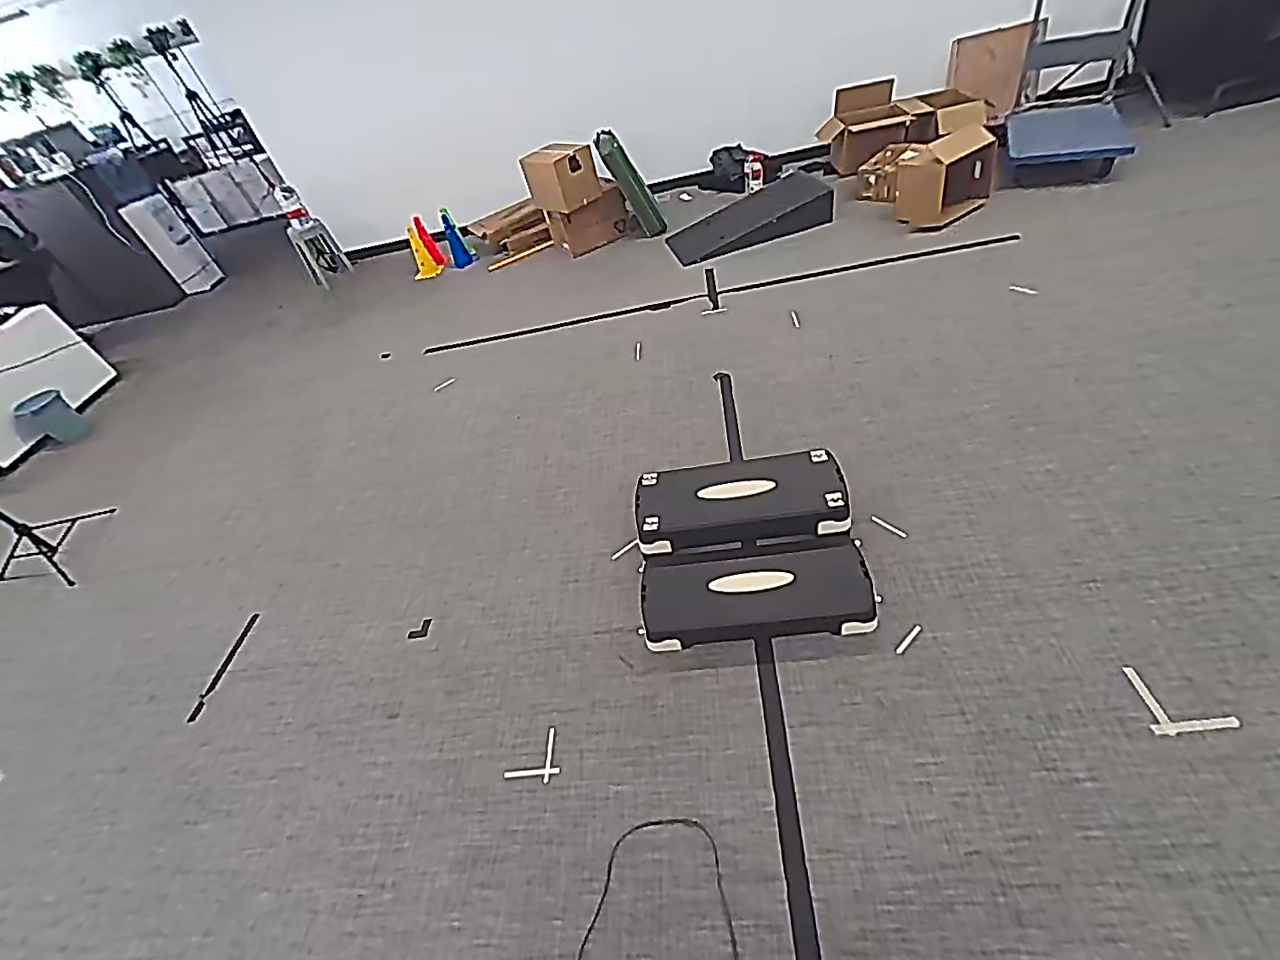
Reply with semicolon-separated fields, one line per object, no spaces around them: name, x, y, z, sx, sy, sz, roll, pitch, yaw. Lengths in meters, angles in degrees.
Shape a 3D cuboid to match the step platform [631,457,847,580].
step platform;0.310;0.122;1.774;0.684;0.204;0.286;-8;45;7
